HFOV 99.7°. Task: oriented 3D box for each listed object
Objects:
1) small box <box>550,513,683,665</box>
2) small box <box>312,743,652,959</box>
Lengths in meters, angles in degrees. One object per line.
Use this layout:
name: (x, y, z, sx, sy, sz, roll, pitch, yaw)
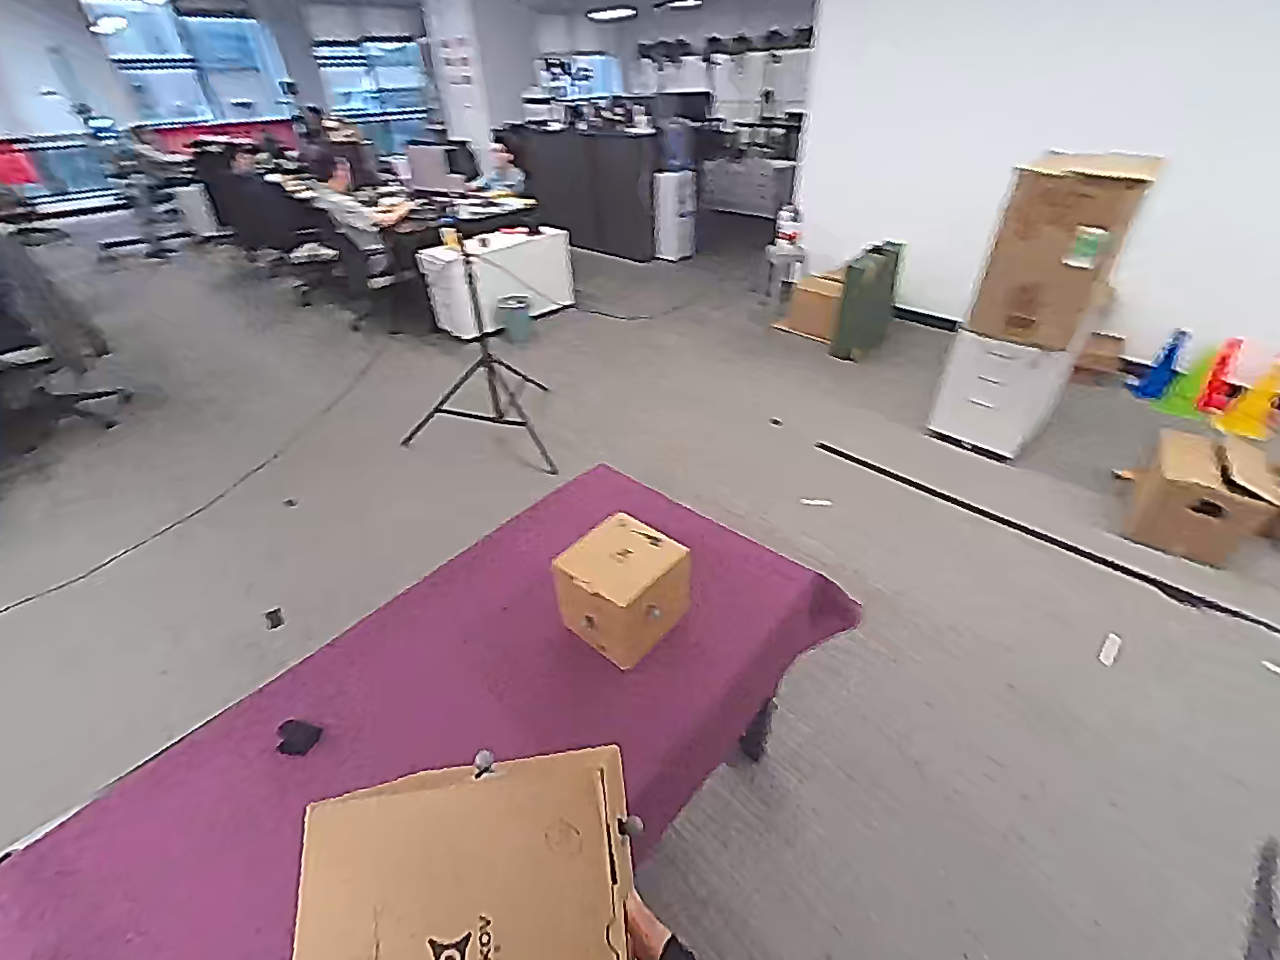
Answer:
small box: (-0.033, 0.197, 0.978, 0.168, 0.176, 0.179, 26, 46, 33)
small box: (-0.085, 0.277, 0.359, 0.179, 0.176, 0.168, -8, 66, -1)
